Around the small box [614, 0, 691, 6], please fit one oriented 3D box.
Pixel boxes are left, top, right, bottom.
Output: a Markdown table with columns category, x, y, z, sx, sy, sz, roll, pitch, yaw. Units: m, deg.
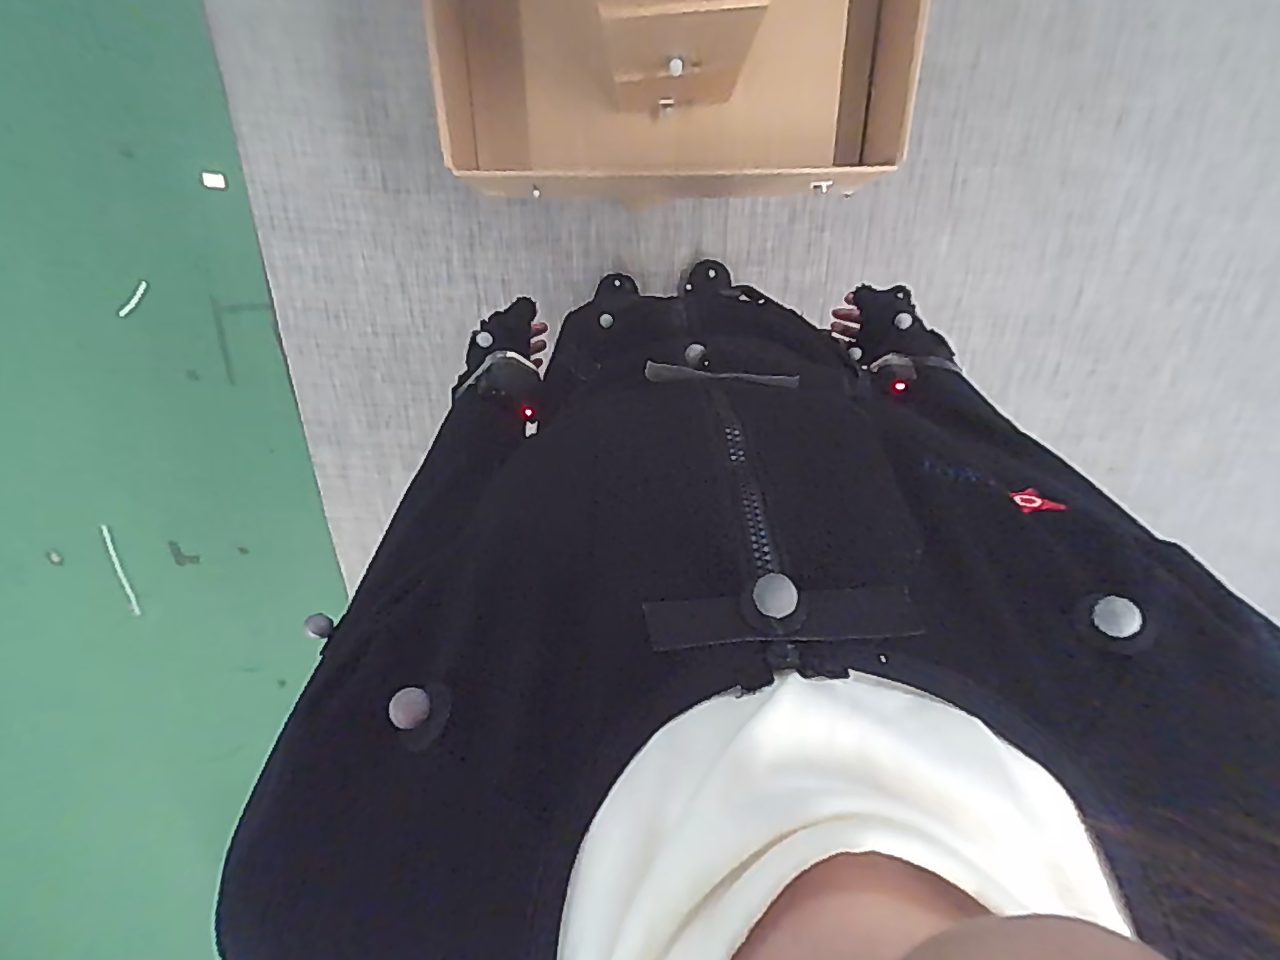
| category | x | y | z | sx | sy | sz | roll | pitch | yaw |
| --- | --- | --- | --- | --- | --- | --- | --- | --- | --- |
| small box | 0.036 | -0.502 | 0.400 | 0.168 | 0.176 | 0.179 | -2 | 110 | 4 |

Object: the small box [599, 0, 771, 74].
| category | x | y | z | sx | sy | sz | roll | pitch | yaw |
| --- | --- | --- | --- | --- | --- | --- | --- | --- | --- |
| small box | 0.041 | -0.553 | 0.556 | 0.168 | 0.176 | 0.179 | -2 | 112 | 3 |

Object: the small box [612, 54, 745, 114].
| category | x | y | z | sx | sy | sz | roll | pitch | yaw |
| --- | --- | --- | --- | --- | --- | --- | --- | --- | --- |
| small box | 0.043 | -0.611 | 0.709 | 0.168 | 0.176 | 0.179 | -4 | 112 | 3 |
